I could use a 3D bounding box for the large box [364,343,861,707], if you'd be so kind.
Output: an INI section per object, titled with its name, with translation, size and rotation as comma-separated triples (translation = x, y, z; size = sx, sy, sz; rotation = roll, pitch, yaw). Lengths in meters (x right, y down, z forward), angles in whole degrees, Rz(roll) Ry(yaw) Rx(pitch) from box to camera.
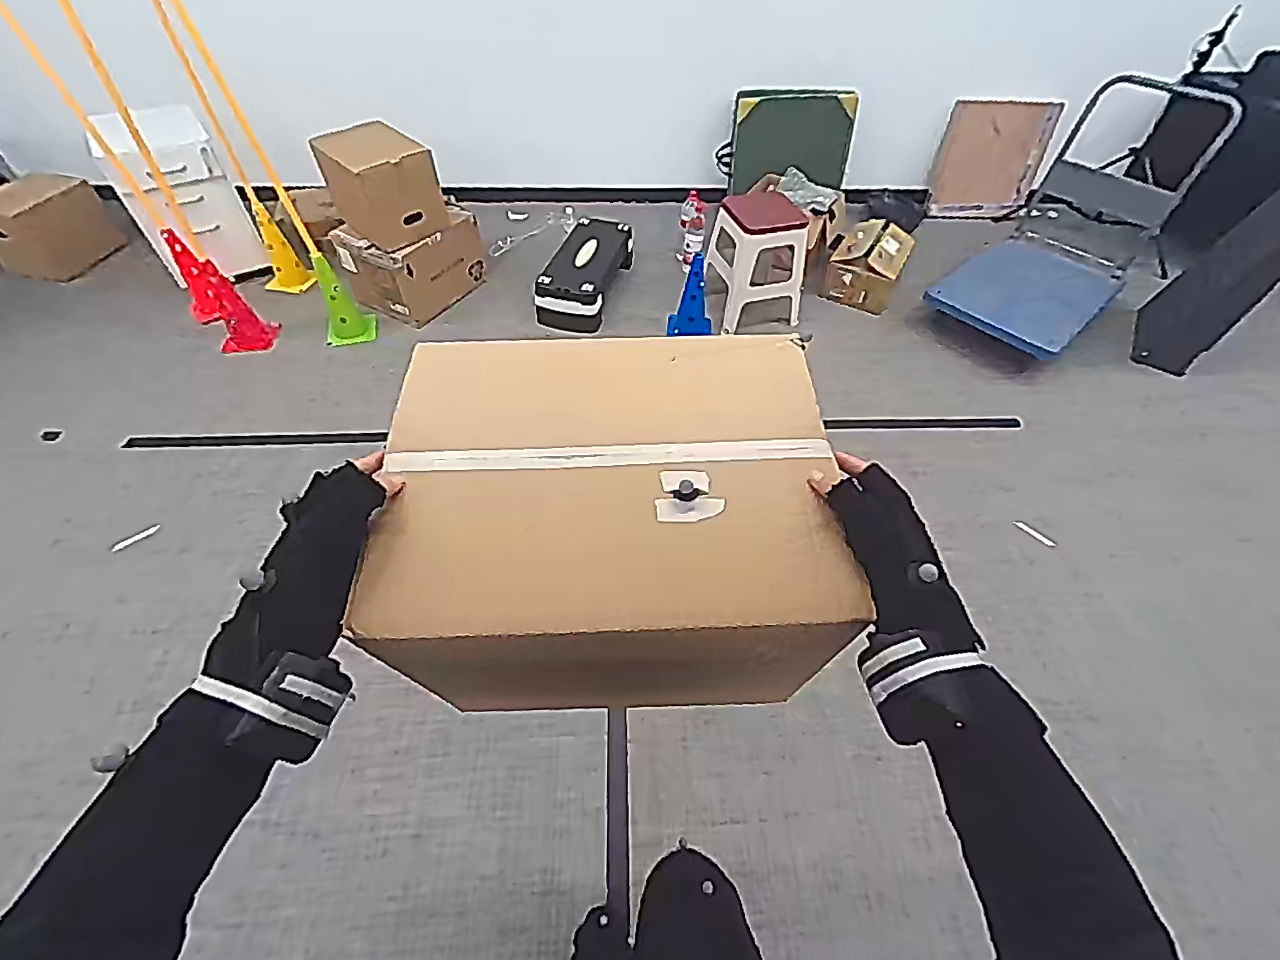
[large box]
translation = -0.027, 0.065, 0.630
size = 0.408, 0.320, 0.320
rotation = -1, 57, -1
